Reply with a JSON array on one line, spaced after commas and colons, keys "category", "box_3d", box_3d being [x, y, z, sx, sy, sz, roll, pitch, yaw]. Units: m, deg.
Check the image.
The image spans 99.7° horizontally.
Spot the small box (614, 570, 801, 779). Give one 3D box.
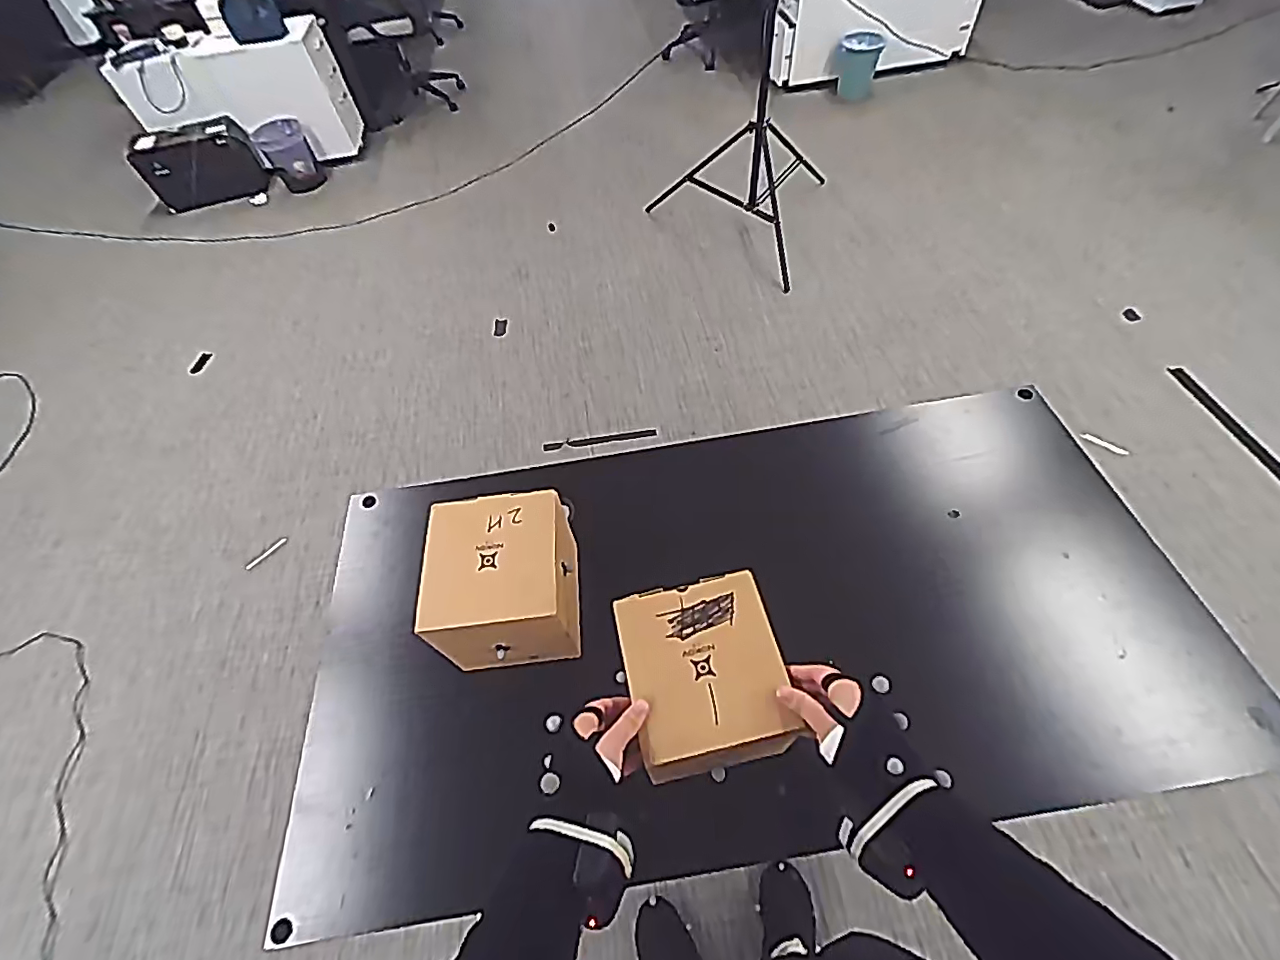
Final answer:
[{"category": "small box", "box_3d": [0.071, 0.234, 0.643, 0.168, 0.176, 0.179, -13, 56, -3]}]

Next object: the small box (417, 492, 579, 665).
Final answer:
[{"category": "small box", "box_3d": [-0.179, 0.141, 0.734, 0.168, 0.176, 0.179, -7, 55, 0]}]
